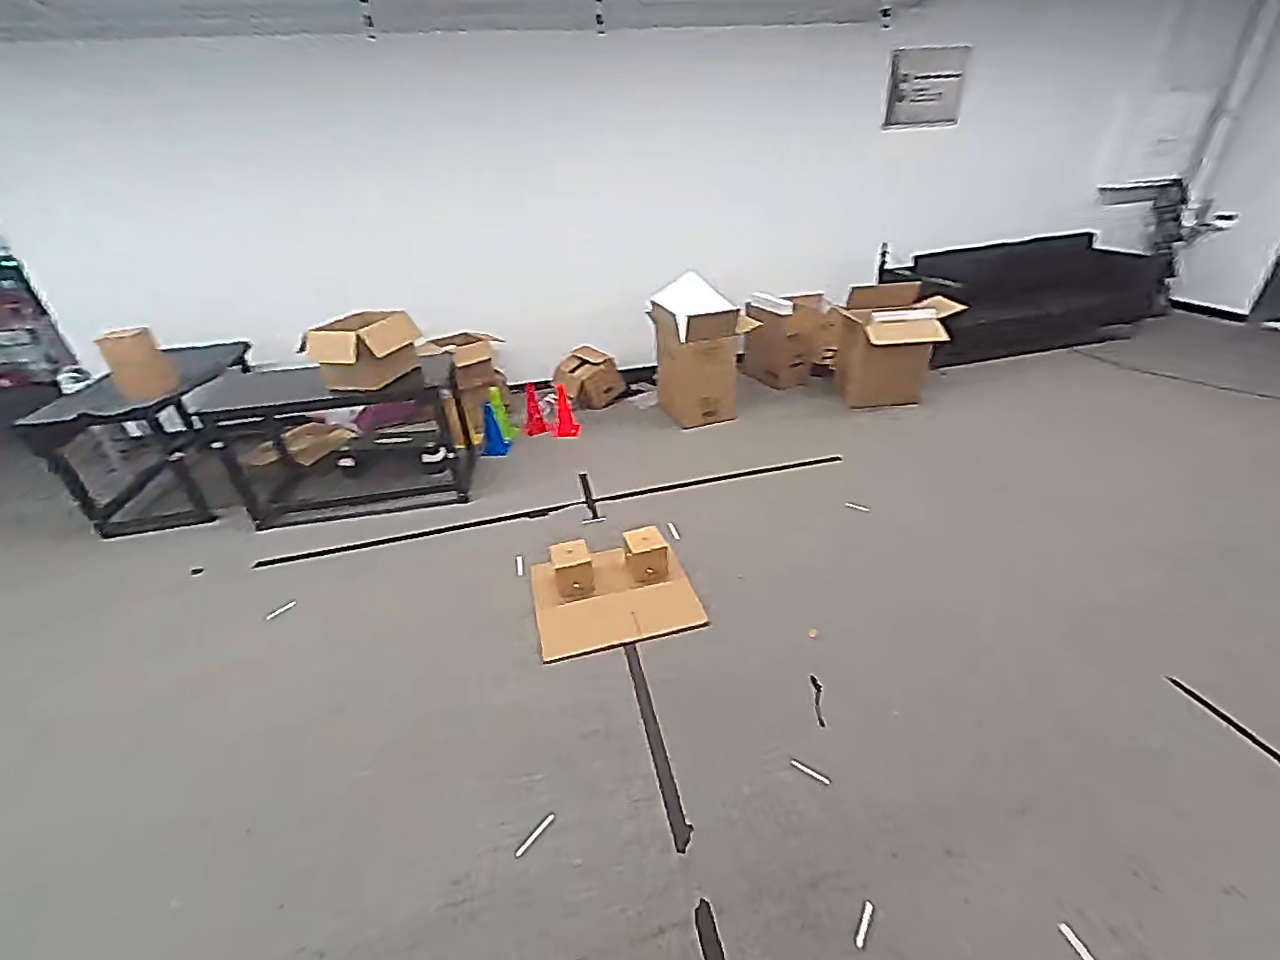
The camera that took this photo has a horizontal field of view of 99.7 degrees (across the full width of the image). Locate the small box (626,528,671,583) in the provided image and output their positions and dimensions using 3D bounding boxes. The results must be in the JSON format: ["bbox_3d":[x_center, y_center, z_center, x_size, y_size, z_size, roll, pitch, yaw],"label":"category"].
[{"bbox_3d":[0.038,0.353,2.533,0.168,0.176,0.179,-12,32,-14],"label":"small box"}]

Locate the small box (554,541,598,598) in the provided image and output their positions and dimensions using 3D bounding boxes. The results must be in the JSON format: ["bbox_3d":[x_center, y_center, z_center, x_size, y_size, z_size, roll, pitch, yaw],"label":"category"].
[{"bbox_3d":[-0.295,0.407,2.468,0.168,0.176,0.179,-11,31,-11],"label":"small box"}]
